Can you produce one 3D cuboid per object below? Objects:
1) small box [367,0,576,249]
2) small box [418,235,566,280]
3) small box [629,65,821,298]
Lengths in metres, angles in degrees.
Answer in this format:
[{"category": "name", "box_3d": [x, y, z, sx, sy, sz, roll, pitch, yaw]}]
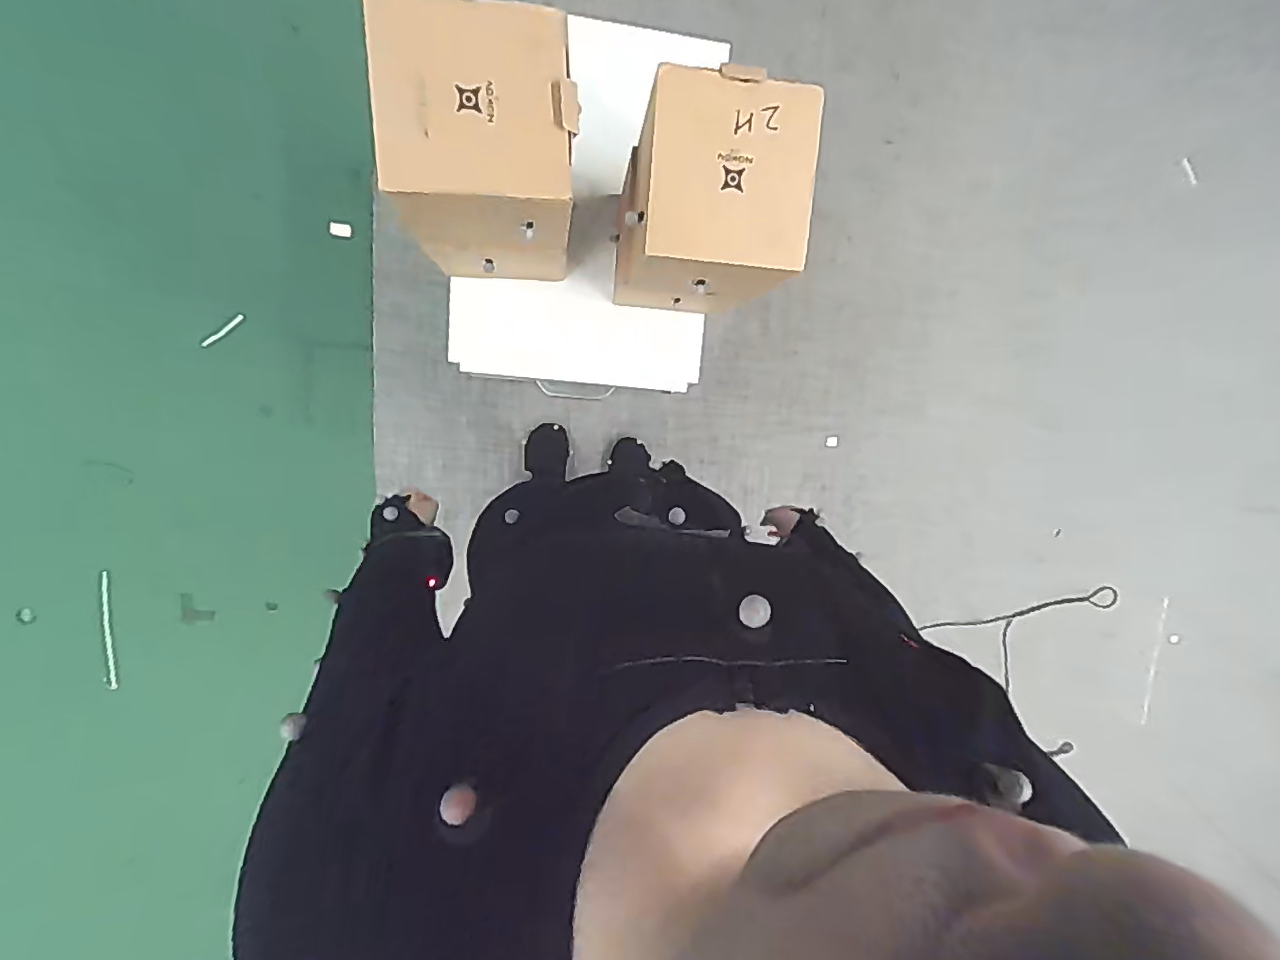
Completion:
[{"category": "small box", "box_3d": [-0.162, -0.351, 0.568, 0.179, 0.176, 0.168, -3, 98, -9]}, {"category": "small box", "box_3d": [-0.189, -0.373, 0.725, 0.179, 0.176, 0.168, -1, 98, -8]}, {"category": "small box", "box_3d": [0.081, -0.312, 0.608, 0.168, 0.176, 0.179, 3, 98, -8]}]
